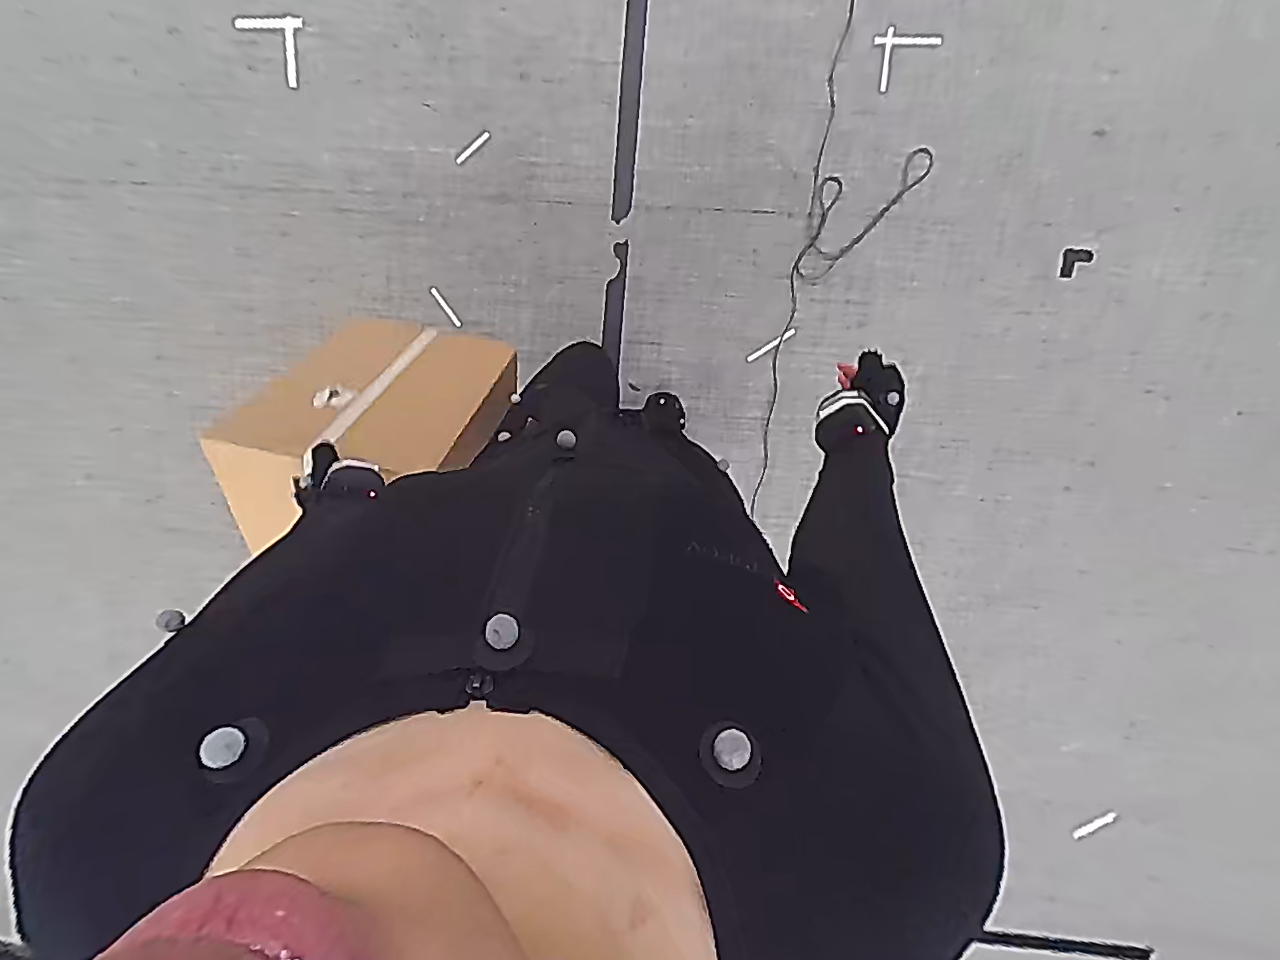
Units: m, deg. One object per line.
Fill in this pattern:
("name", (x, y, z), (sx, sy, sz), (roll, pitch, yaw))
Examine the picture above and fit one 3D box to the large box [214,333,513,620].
("large box", (-0.432, -0.021, 0.978), (0.320, 0.408, 0.320), (9, 129, 1))
